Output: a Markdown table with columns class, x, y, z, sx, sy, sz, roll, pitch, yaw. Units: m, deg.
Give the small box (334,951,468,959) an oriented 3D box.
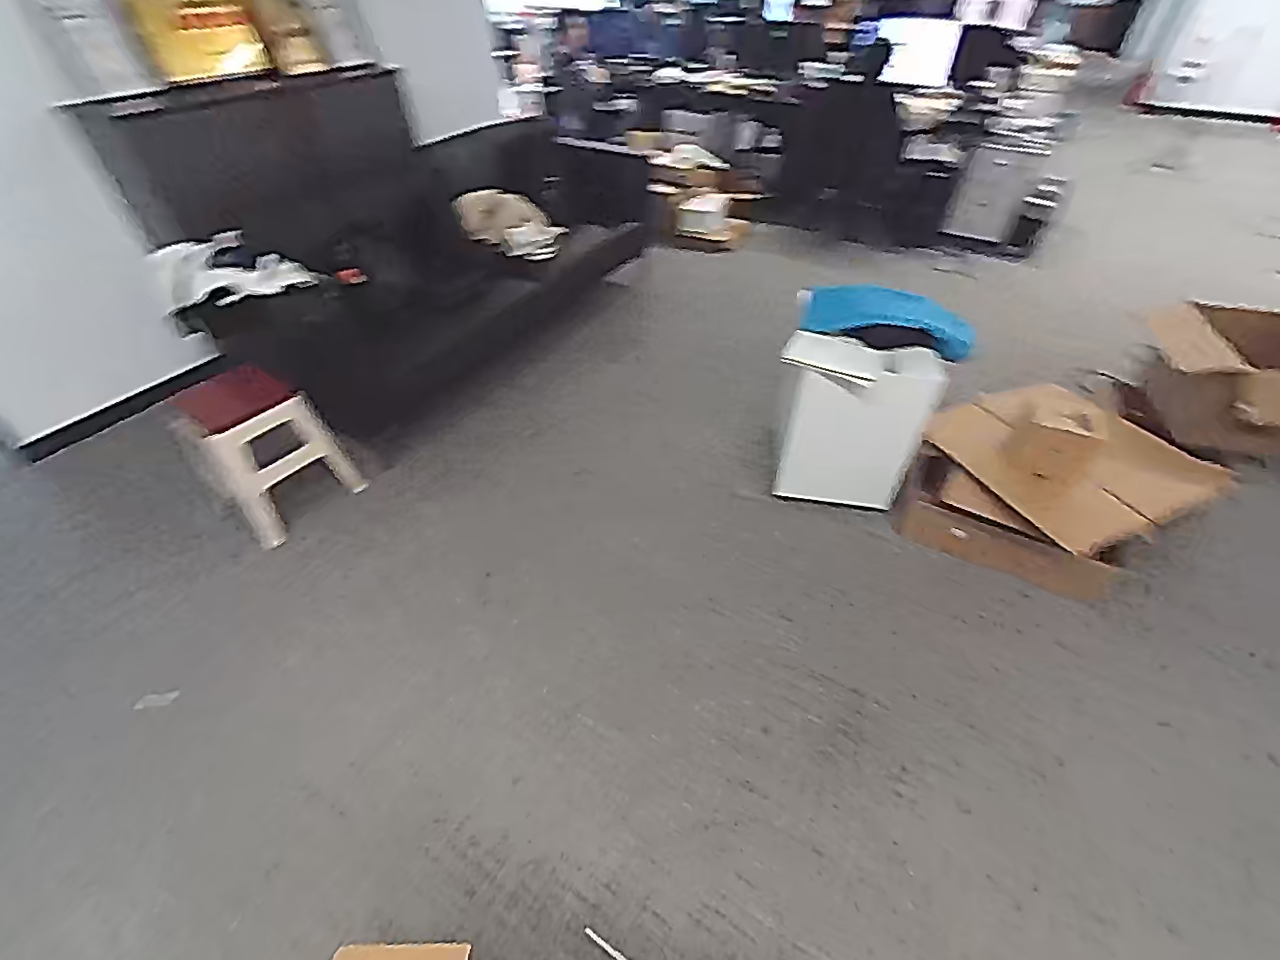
| class | x | y | z | sx | sy | sz | roll | pitch | yaw |
| --- | --- | --- | --- | --- | --- | --- | --- | --- | --- |
| small box | -0.298 | 0.677 | 0.598 | 0.168 | 0.176 | 0.179 | 2 | -2 | -5 |
